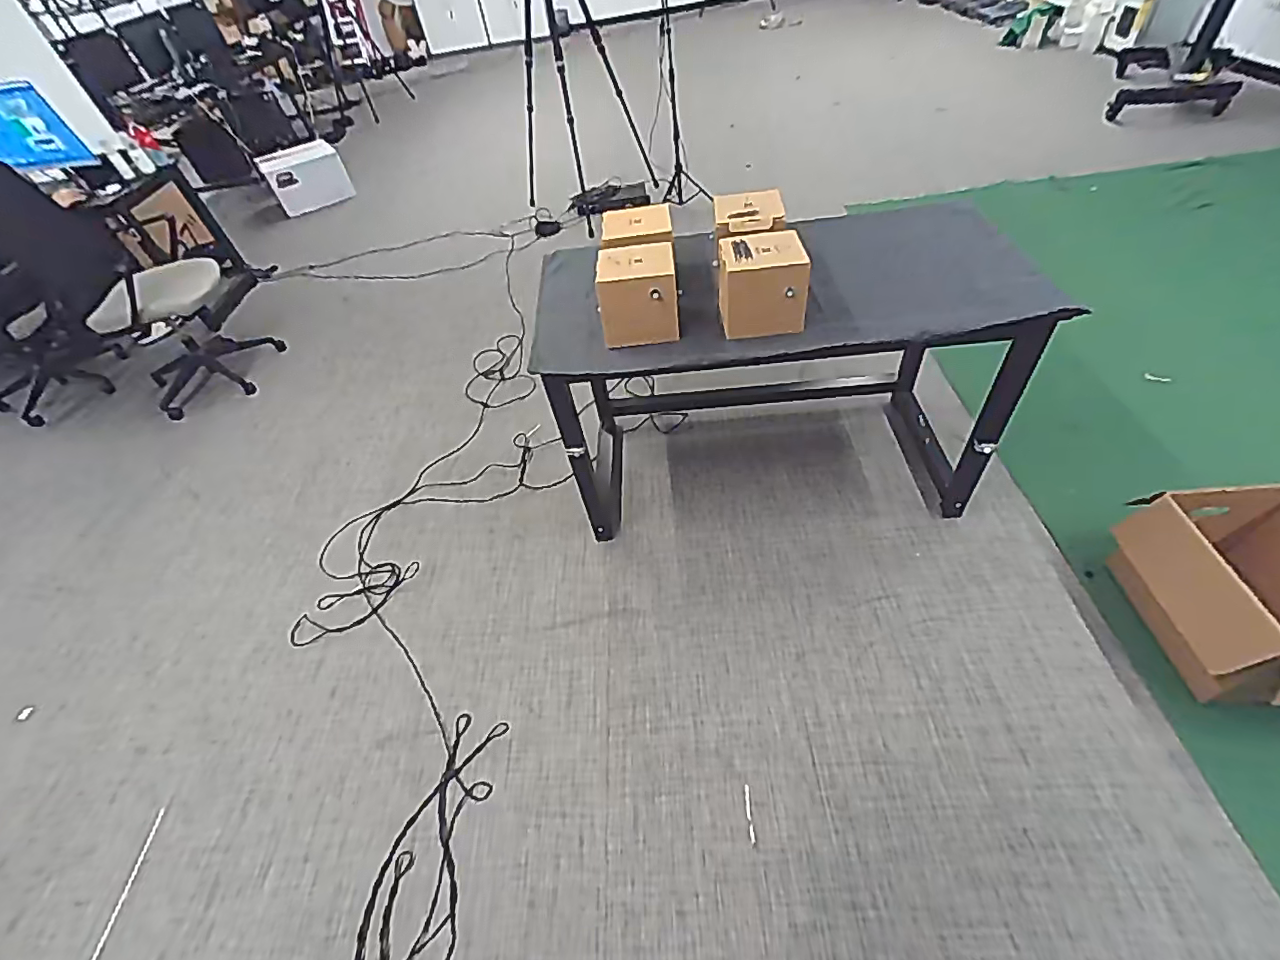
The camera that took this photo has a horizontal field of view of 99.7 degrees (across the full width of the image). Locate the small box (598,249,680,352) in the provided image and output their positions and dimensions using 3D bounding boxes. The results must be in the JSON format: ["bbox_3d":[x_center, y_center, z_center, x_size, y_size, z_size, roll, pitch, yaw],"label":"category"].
[{"bbox_3d":[0.004,-0.422,1.279,0.179,0.176,0.168,-5,46,5],"label":"small box"}]

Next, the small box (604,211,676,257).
[{"bbox_3d":[0.007,-0.584,1.433,0.179,0.176,0.168,-7,48,5],"label":"small box"}]

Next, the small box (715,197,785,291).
[{"bbox_3d":[0.281,-0.603,1.399,0.168,0.176,0.179,-2,47,8],"label":"small box"}]
